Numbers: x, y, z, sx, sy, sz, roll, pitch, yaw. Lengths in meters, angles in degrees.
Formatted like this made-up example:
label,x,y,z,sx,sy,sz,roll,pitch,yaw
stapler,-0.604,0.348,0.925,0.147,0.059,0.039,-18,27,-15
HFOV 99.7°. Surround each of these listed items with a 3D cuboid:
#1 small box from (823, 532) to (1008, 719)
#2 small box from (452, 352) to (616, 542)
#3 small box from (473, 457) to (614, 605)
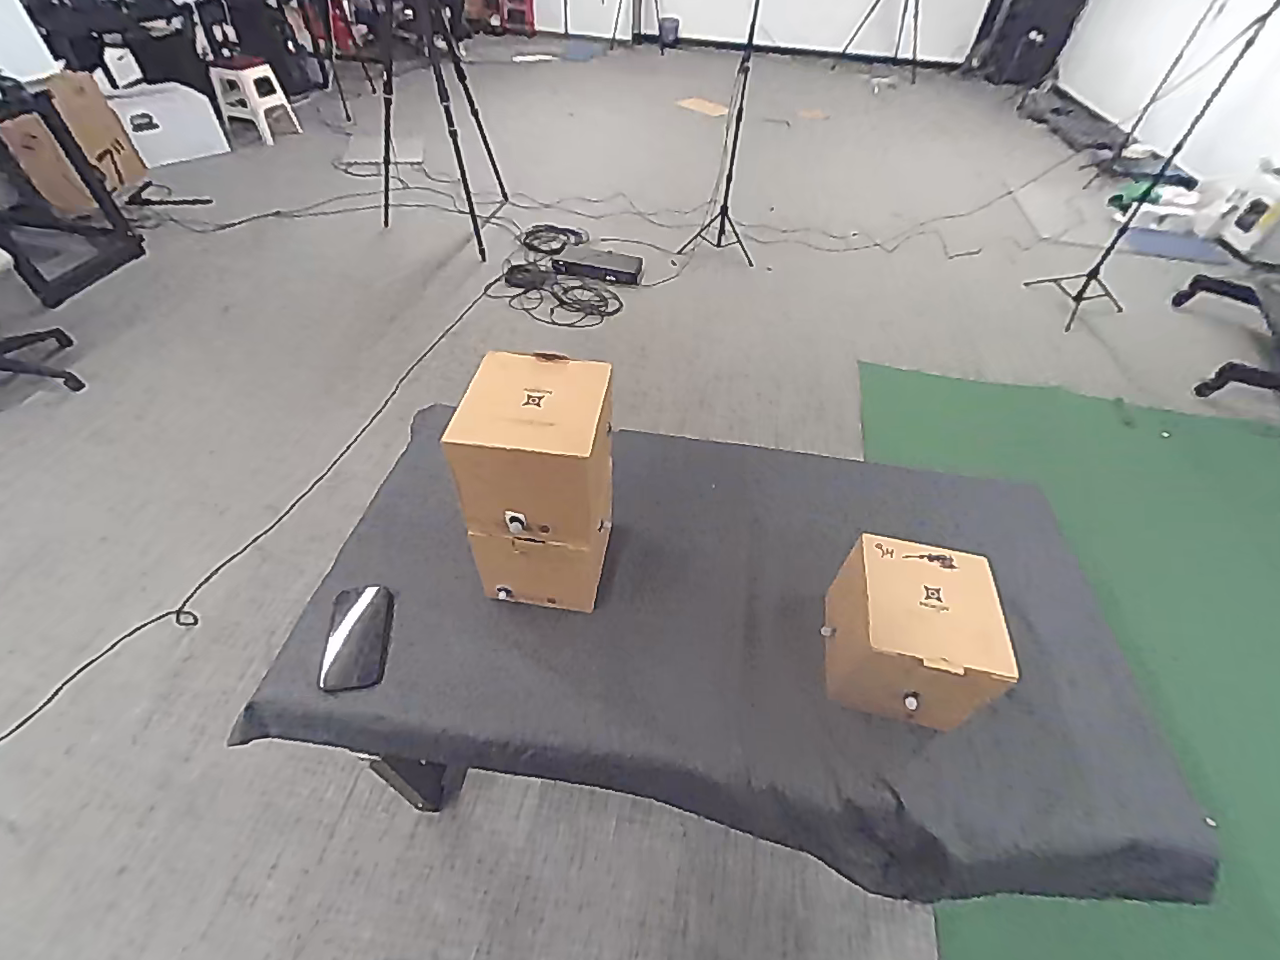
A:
label,x,y,z,sx,sy,sz,roll,pitch,yaw
small box,0.359,0.203,0.742,0.168,0.176,0.179,11,48,6
small box,-0.125,-0.041,0.707,0.168,0.176,0.179,6,48,1
small box,-0.134,0.070,0.824,0.168,0.176,0.179,8,47,2
